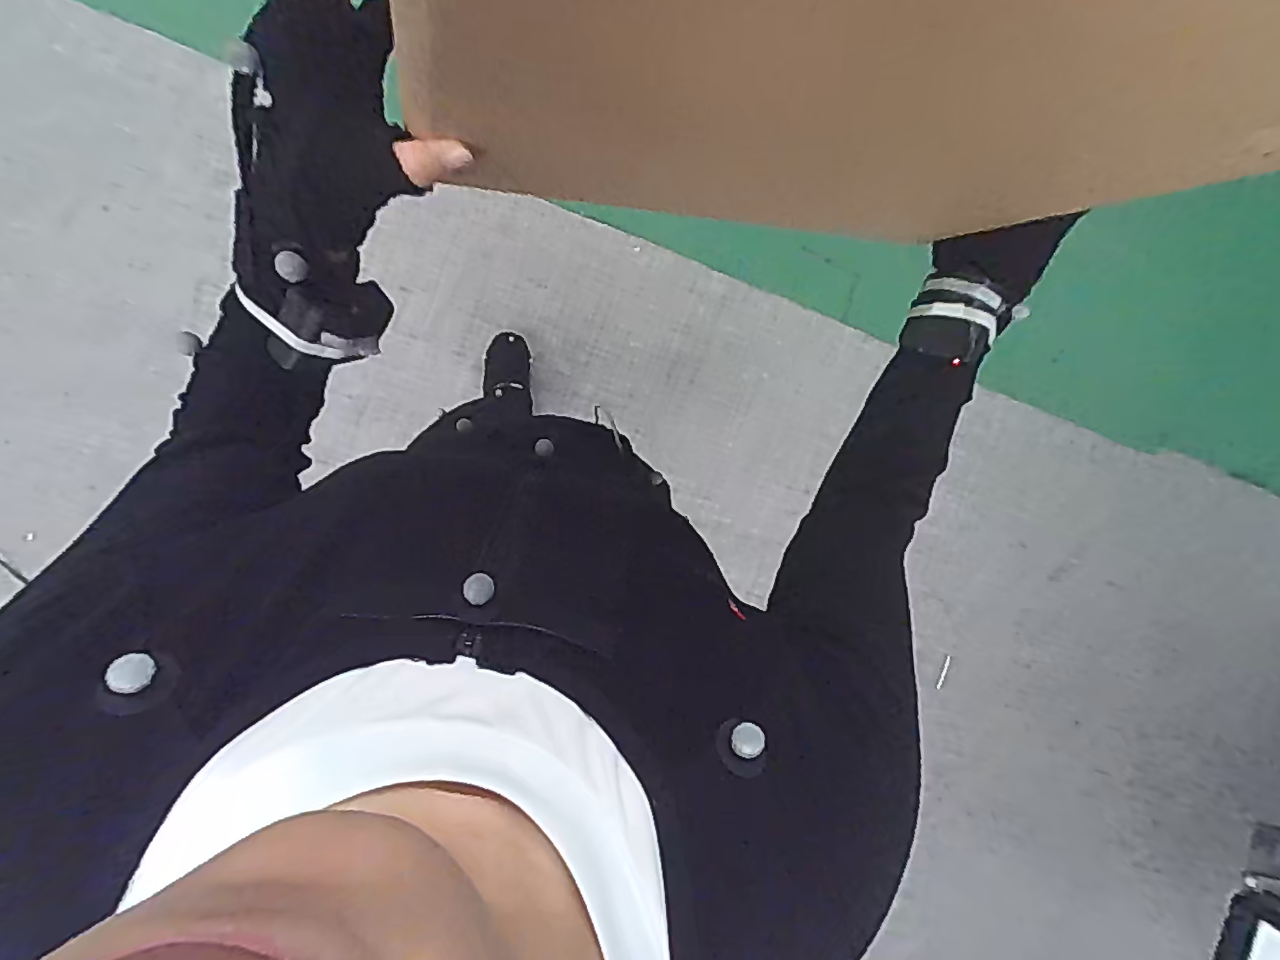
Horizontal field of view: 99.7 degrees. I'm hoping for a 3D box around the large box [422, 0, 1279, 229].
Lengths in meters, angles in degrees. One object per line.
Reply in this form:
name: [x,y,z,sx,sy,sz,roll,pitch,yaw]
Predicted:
large box: [0.121,-0.308,0.219,0.408,0.320,0.320,-5,106,-23]
